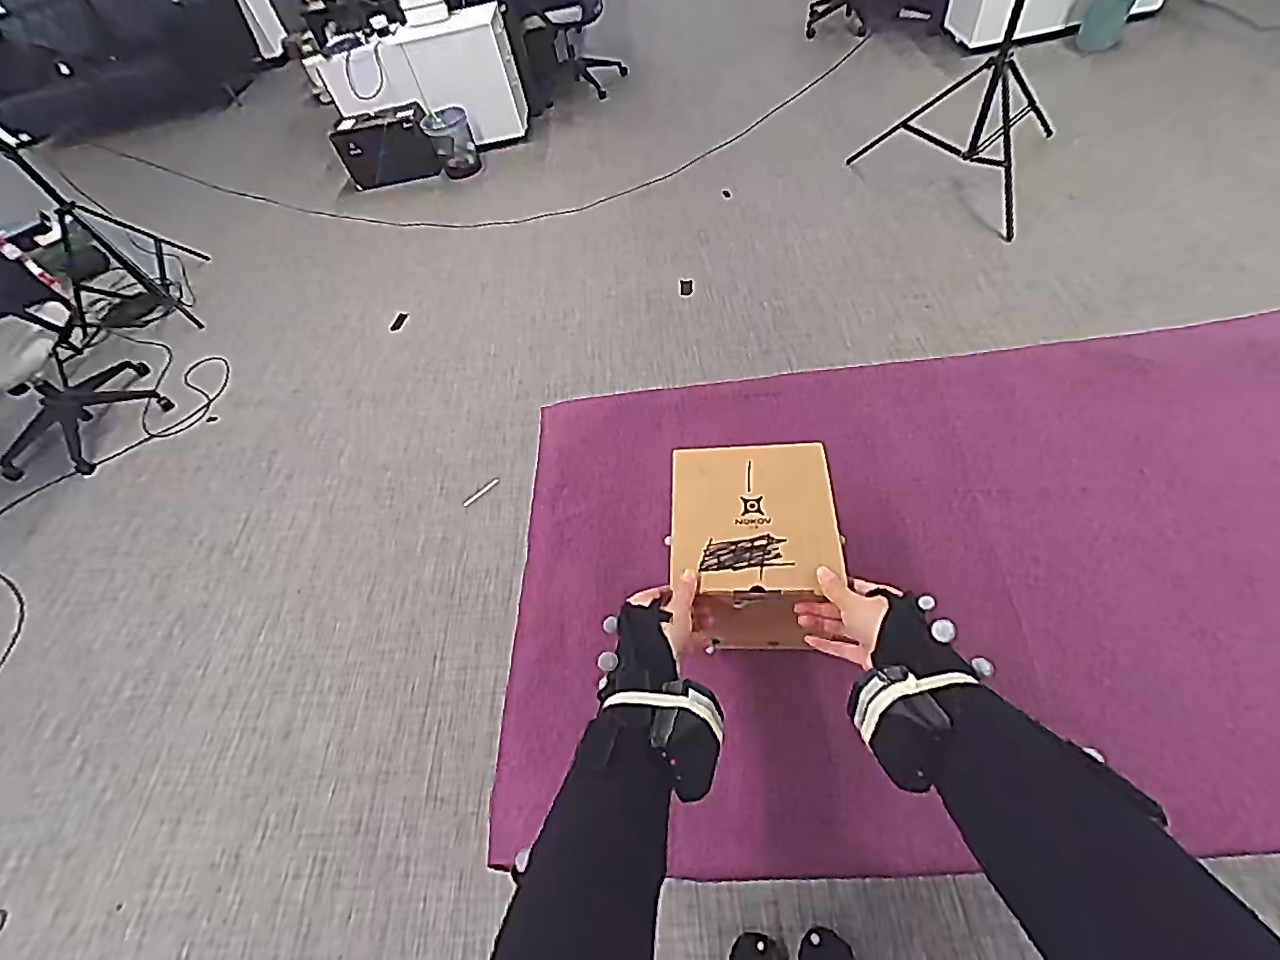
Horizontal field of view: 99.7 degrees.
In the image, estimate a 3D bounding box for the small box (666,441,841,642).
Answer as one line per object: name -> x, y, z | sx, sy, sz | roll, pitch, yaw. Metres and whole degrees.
small box -> 0.124, 0.077, 0.620 | 0.168, 0.176, 0.179 | -2, 54, 9
